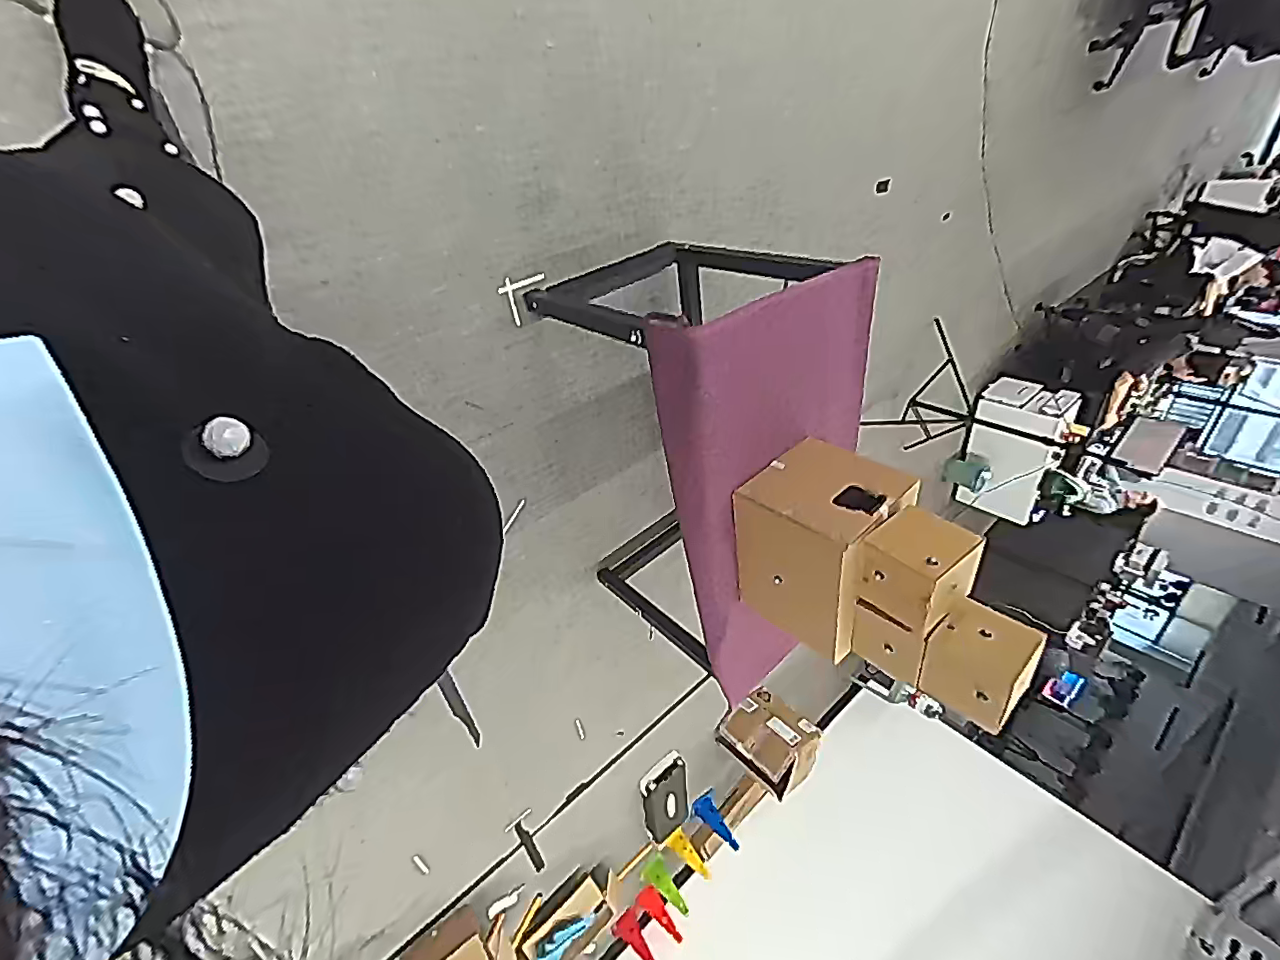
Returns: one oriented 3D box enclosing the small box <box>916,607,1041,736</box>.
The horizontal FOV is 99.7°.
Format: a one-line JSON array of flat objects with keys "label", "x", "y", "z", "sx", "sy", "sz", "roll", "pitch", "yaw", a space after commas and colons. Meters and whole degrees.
[{"label": "small box", "x": 0.728, "y": 0.403, "z": 1.176, "sx": 0.168, "sy": 0.176, "sz": 0.179, "roll": -31, "pitch": 129, "yaw": -29}]
